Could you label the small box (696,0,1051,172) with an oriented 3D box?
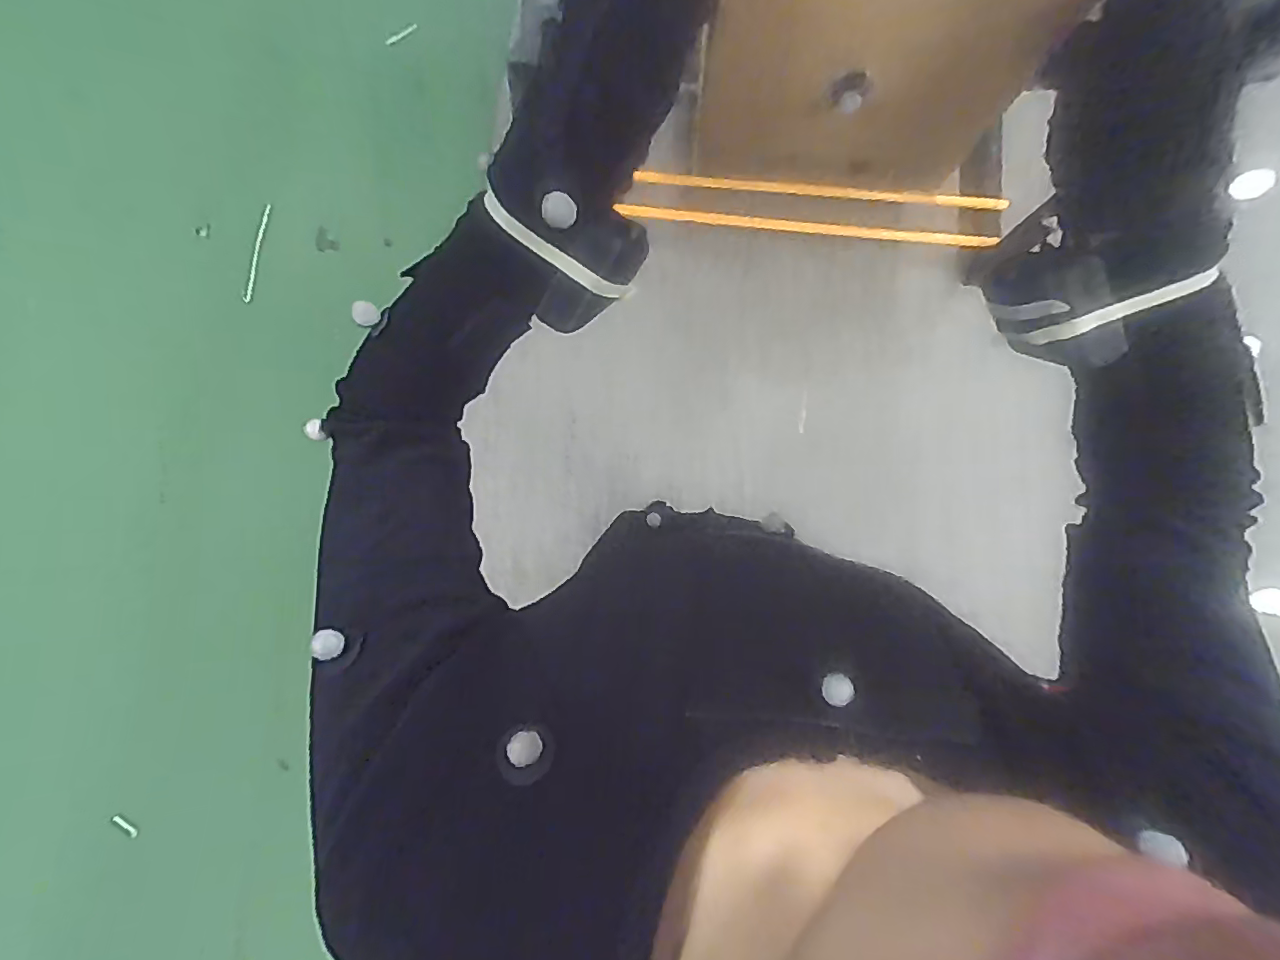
[{"bbox_3d":[0.123,-0.302,0.295,0.168,0.176,0.179,5,83,1],"label":"small box"}]
